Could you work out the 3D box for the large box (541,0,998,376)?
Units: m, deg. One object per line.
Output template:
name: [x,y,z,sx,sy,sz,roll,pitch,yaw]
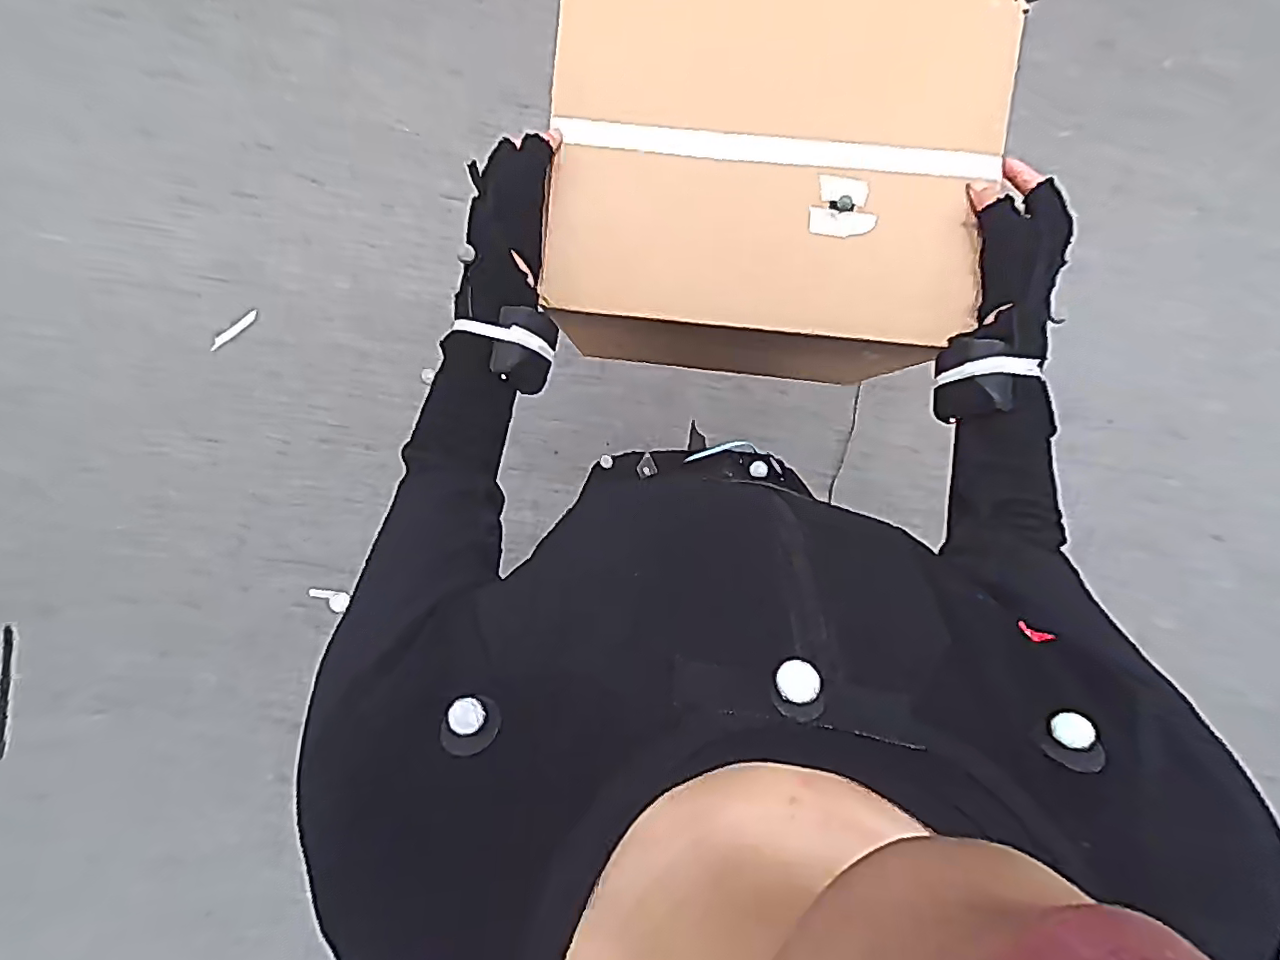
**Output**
large box: [0.116,-0.312,0.651,0.408,0.320,0.320,6,96,1]
